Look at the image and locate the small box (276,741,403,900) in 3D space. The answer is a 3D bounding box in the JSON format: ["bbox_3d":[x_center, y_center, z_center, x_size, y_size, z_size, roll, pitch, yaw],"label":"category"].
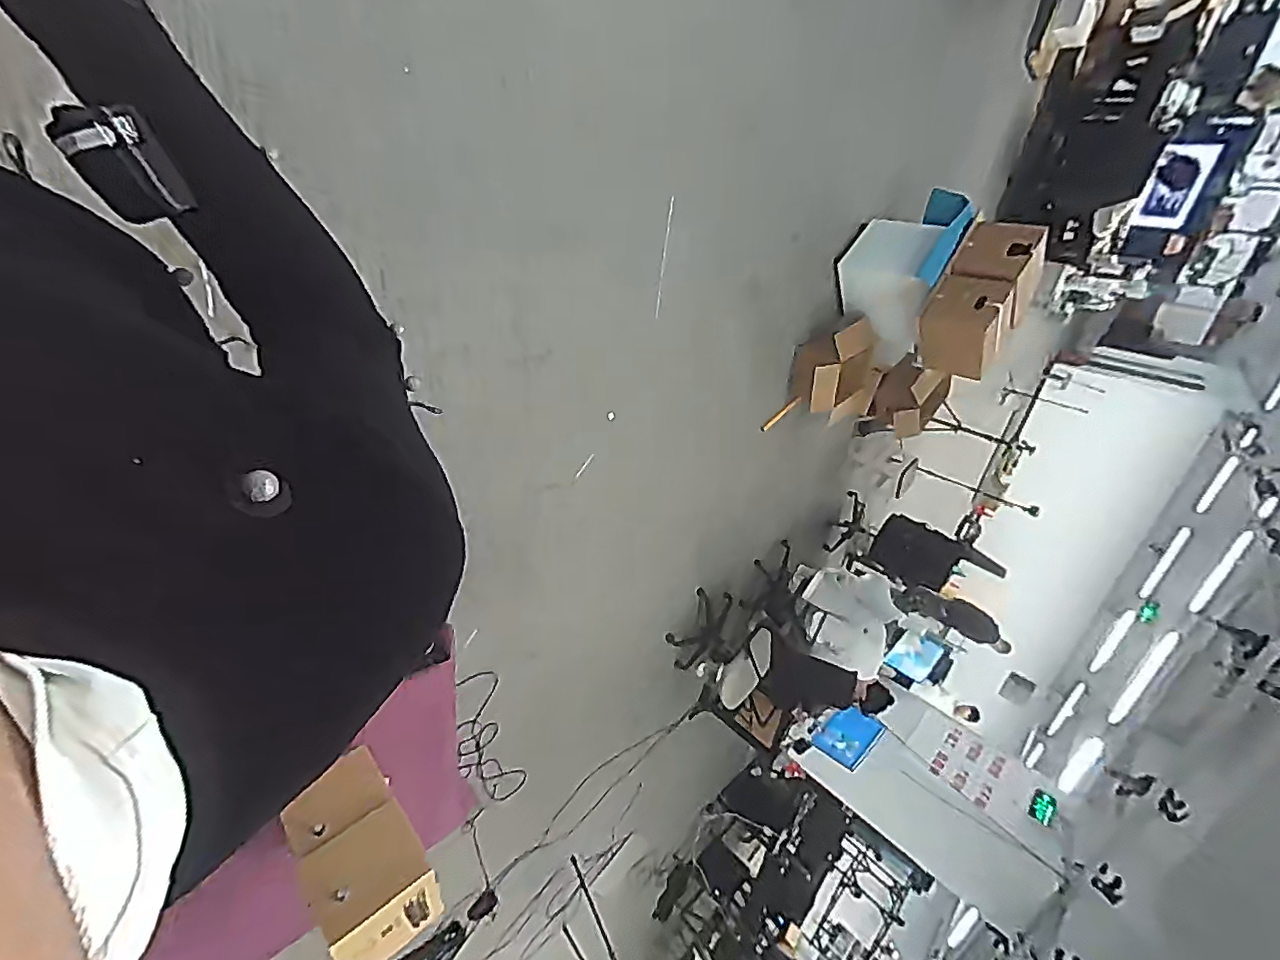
[{"bbox_3d":[-0.616,0.685,1.105,0.179,0.176,0.168,-24,131,-40],"label":"small box"}]
